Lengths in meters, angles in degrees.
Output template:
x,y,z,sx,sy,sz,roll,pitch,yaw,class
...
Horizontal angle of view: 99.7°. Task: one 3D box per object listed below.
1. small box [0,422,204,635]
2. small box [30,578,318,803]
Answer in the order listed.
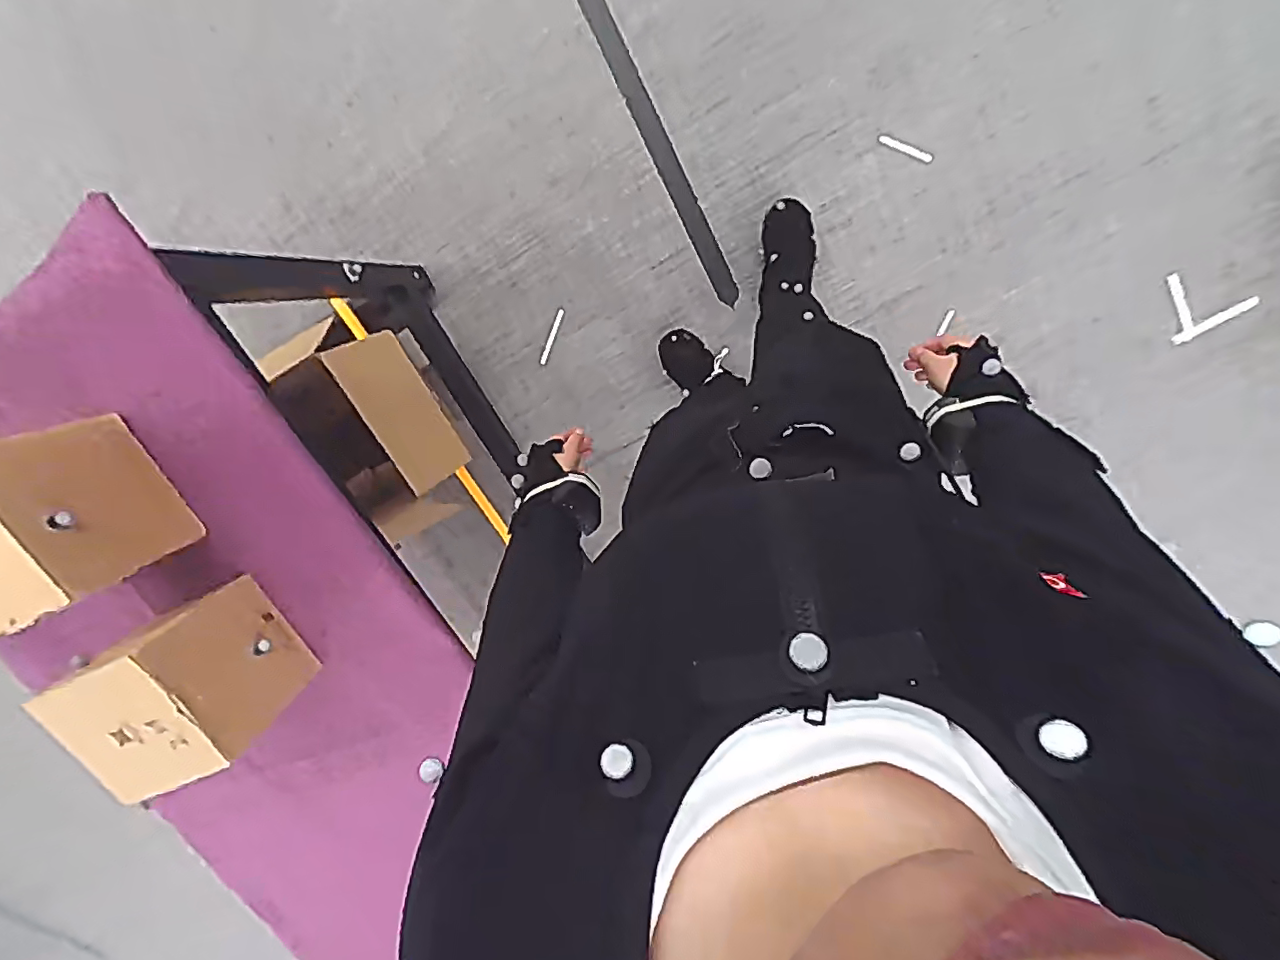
x,y,z,sx,sy,sz,roll,pitch,yaw,class
-0.666,0.047,0.610,0.168,0.176,0.179,-22,107,12,small box
-0.556,0.252,0.673,0.179,0.176,0.168,-24,107,12,small box
